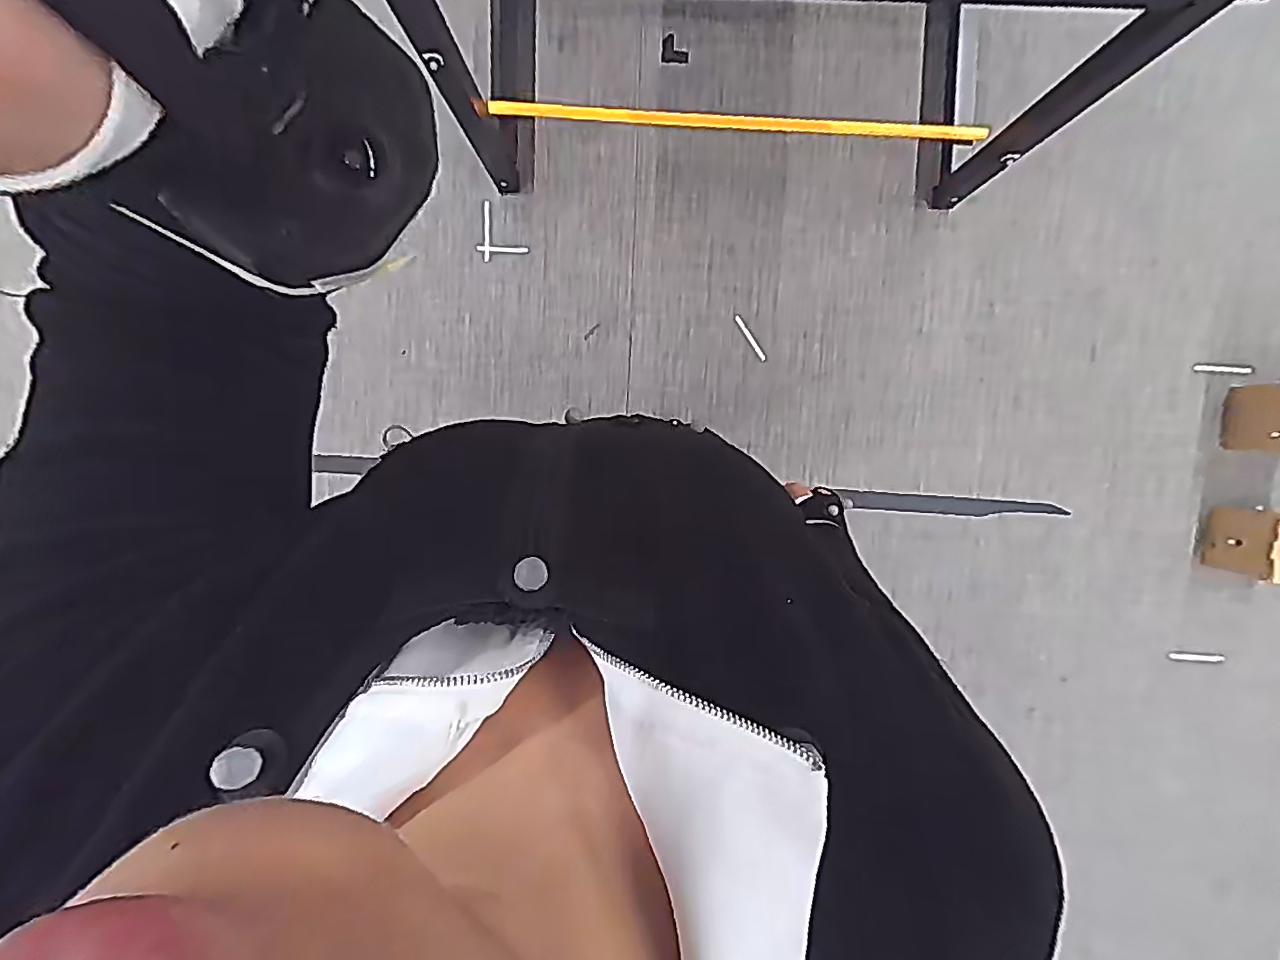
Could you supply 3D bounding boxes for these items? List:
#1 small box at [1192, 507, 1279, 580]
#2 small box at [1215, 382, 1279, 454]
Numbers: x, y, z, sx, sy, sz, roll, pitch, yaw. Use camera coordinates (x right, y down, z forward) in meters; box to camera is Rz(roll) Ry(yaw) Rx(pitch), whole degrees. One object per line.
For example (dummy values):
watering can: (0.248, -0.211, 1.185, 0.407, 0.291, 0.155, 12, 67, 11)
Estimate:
small box: (1.634, 0.167, 1.431, 0.179, 0.176, 0.168, 4, 96, 1)
small box: (1.657, -0.158, 1.397, 0.168, 0.176, 0.179, 1, 95, 0)
